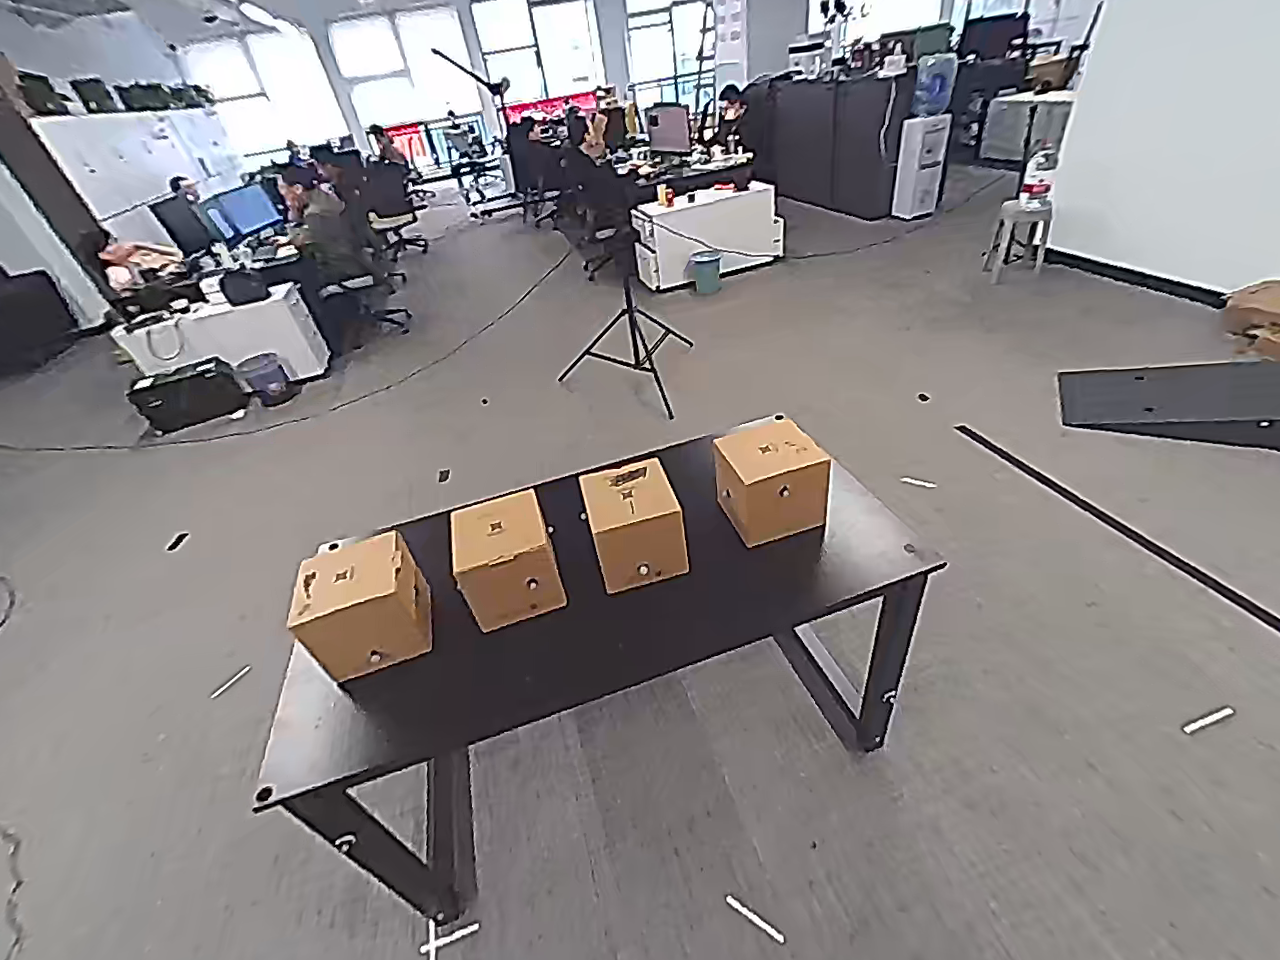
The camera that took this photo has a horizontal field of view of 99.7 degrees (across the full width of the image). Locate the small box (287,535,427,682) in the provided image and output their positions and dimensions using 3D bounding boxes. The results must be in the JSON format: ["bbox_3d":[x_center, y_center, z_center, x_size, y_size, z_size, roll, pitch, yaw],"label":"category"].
[{"bbox_3d":[-0.501,0.234,0.989,0.179,0.176,0.168,-17,37,-11],"label":"small box"}]

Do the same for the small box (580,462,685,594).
[{"bbox_3d":[-0.015,0.093,1.068,0.168,0.176,0.179,-14,38,-6],"label":"small box"}]

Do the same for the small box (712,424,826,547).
[{"bbox_3d":[0.262,0.012,1.112,0.179,0.176,0.168,-16,38,-7],"label":"small box"}]

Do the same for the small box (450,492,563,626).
[{"bbox_3d":[-0.255,0.157,1.040,0.168,0.176,0.179,-16,37,-10],"label":"small box"}]
